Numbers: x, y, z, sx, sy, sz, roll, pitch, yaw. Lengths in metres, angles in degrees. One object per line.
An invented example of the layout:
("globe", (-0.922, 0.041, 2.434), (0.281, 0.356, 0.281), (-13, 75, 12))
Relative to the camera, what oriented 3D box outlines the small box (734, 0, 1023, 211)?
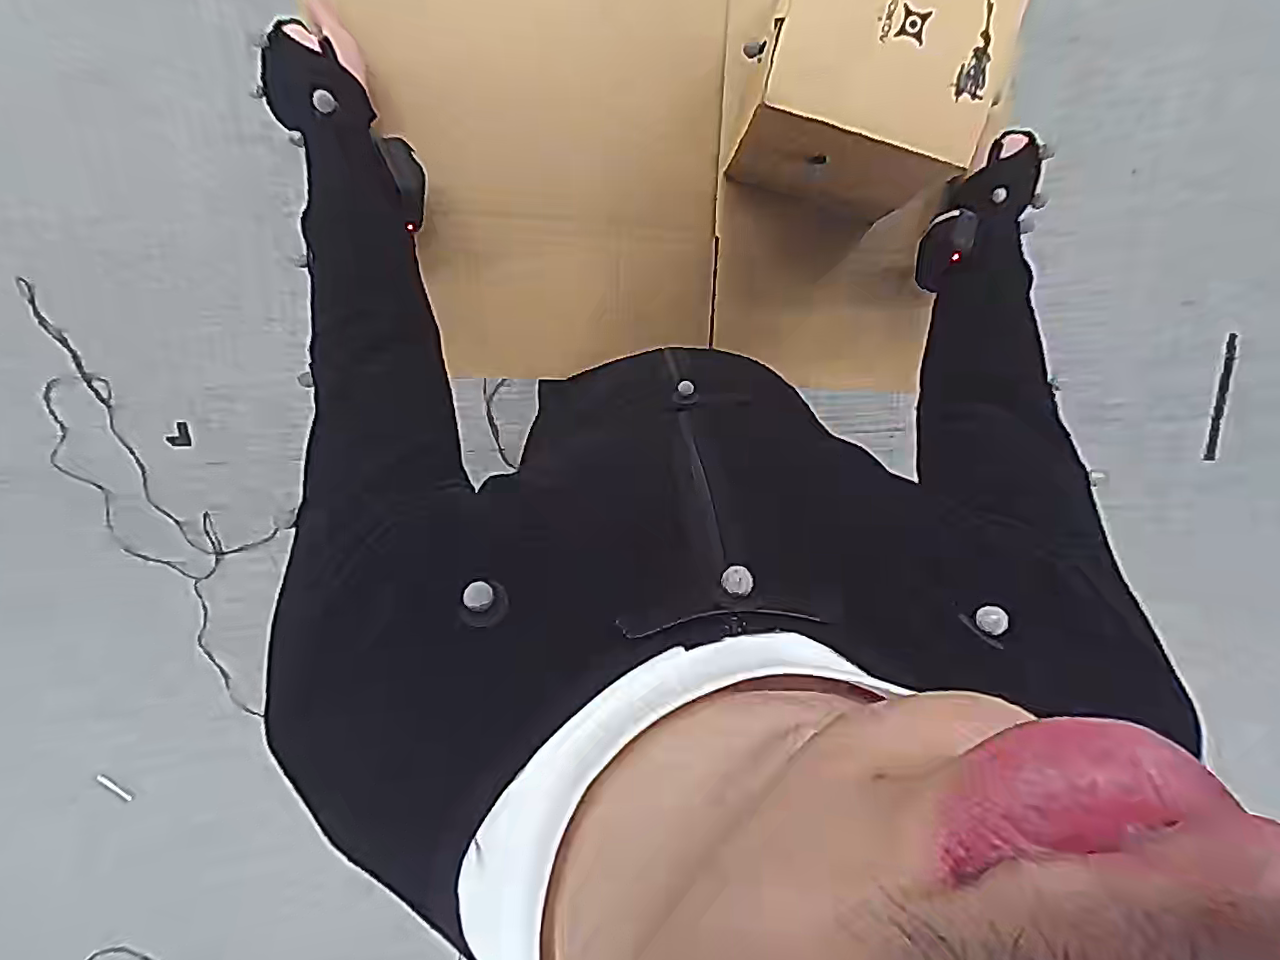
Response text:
("small box", (0.197, -0.367, 0.488), (0.179, 0.176, 0.168), (15, 102, -3))
